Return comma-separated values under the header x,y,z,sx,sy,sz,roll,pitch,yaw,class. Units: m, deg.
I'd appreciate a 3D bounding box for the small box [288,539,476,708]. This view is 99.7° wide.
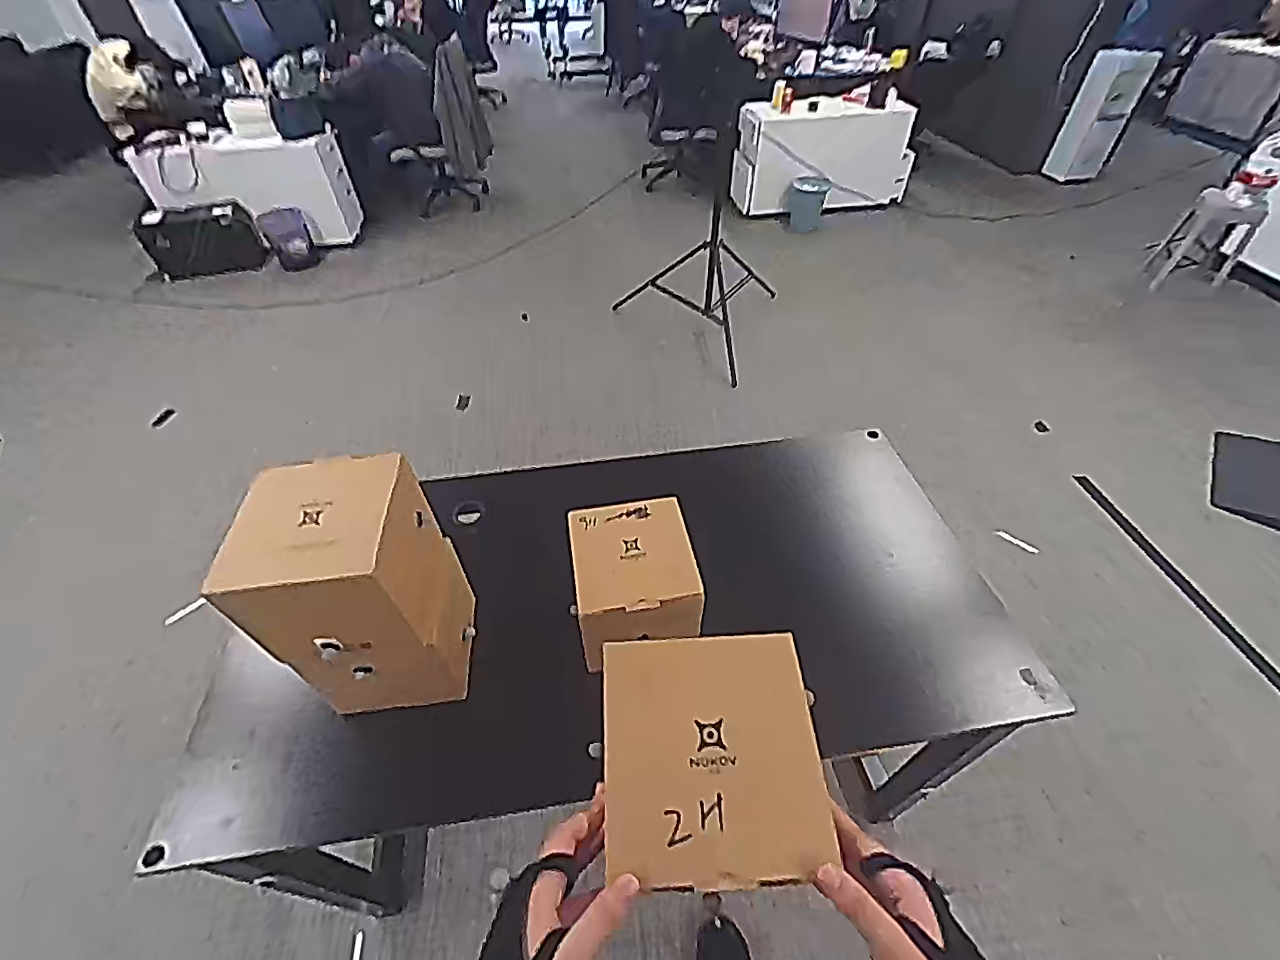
x,y,z,sx,sy,sz,roll,pitch,yaw,class
-0.344,0.205,0.762,0.179,0.176,0.168,-5,47,-5,small box

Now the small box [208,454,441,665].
x,y,z,sx,sy,sz,roll,pitch,yaw,class
-0.348,0.094,0.643,0.168,0.176,0.179,-7,48,-4,small box

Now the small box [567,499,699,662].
x,y,z,sx,sy,sz,roll,pitch,yaw,class
-0.012,0.155,0.806,0.168,0.176,0.179,-8,47,-6,small box

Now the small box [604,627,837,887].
x,y,z,sx,sy,sz,roll,pitch,yaw,class
0.054,0.252,0.489,0.168,0.176,0.179,-3,52,-1,small box
